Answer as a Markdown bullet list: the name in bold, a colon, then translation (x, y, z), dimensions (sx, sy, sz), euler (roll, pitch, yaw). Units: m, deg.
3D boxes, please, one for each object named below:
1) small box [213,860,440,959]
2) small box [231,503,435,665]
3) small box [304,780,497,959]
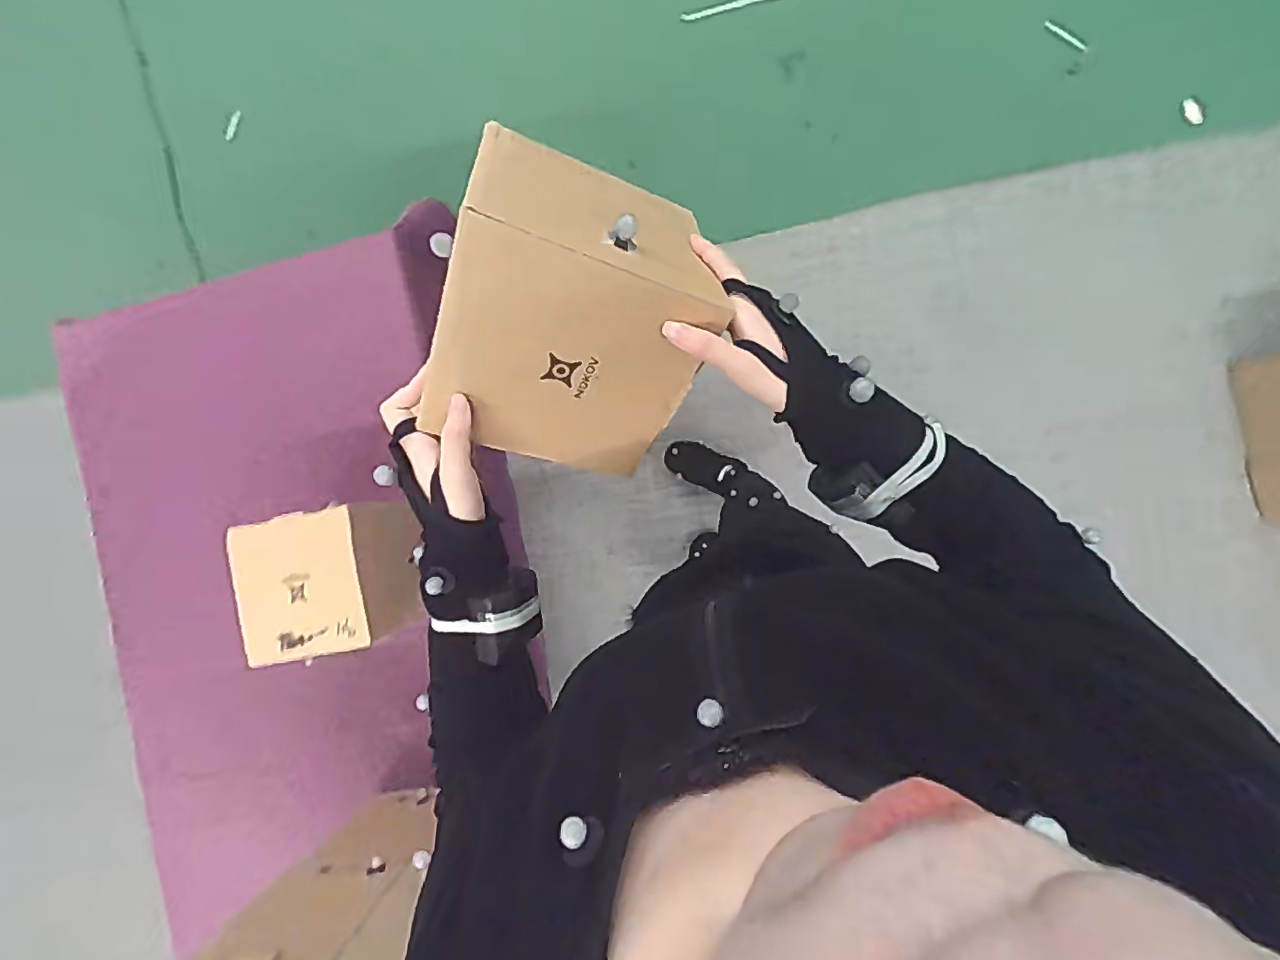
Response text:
- **small box**: translation (-0.327, 0.533, 0.562), dimensions (0.168, 0.176, 0.179), euler (-11, 89, 5)
- **small box**: translation (-0.407, 0.132, 0.742), dimensions (0.168, 0.176, 0.179), euler (-12, 87, 6)
- **small box**: translation (-0.307, 0.540, 0.725), dimensions (0.168, 0.176, 0.179), euler (-11, 88, 5)
